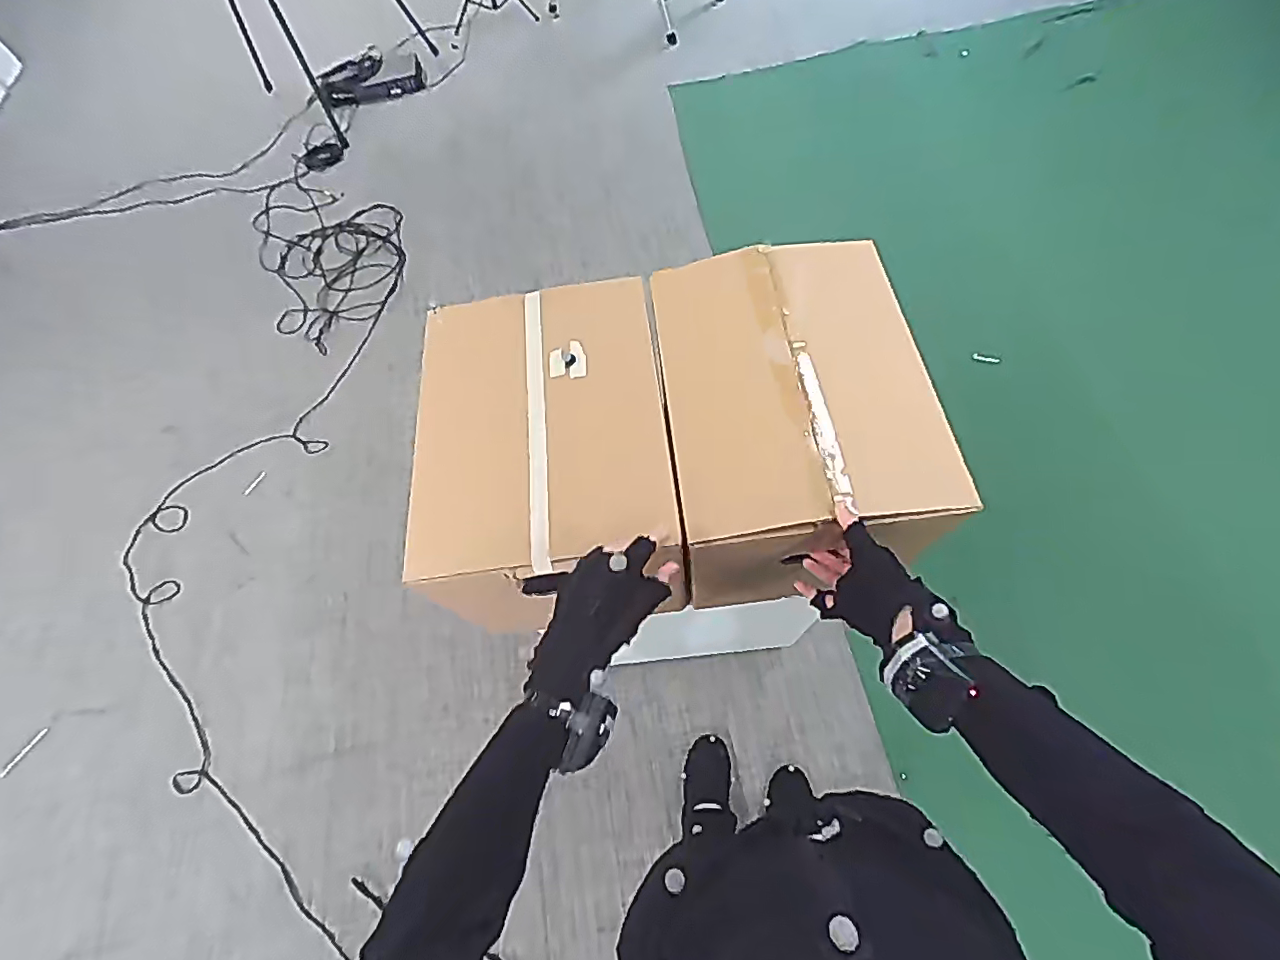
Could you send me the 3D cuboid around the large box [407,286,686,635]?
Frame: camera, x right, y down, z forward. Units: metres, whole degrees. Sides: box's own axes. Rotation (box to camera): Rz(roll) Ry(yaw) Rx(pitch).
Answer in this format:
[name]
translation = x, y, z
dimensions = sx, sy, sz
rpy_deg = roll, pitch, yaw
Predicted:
[large box]
translation = -0.117, -0.014, 0.818
dimensions = 0.320, 0.320, 0.408
rpy_deg = -8, 62, 2
